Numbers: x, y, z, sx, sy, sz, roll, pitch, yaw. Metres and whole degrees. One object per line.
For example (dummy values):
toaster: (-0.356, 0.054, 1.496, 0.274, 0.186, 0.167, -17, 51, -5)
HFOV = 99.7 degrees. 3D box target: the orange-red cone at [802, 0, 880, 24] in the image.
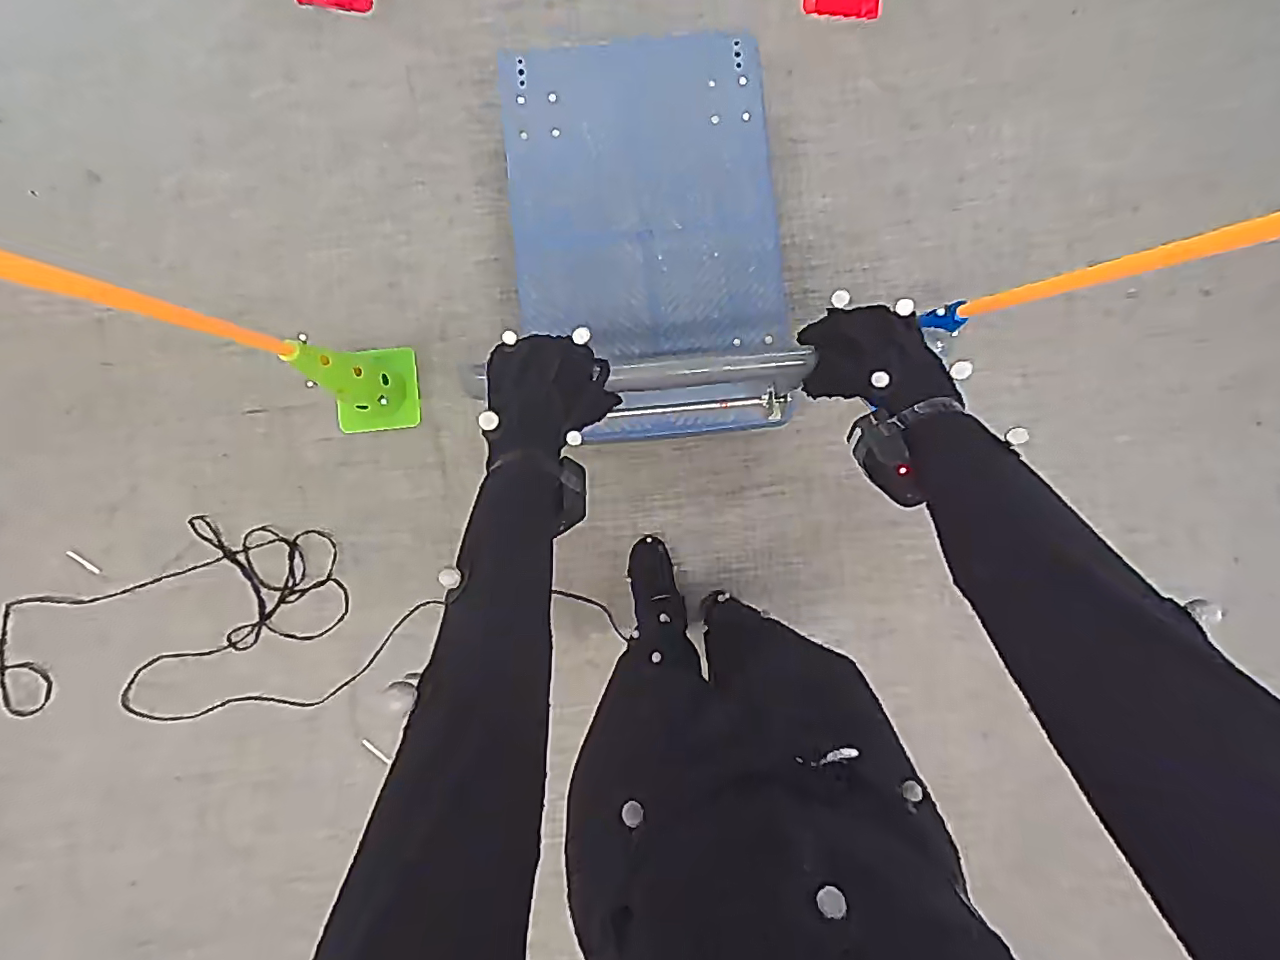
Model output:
orange-red cone: (0.522, -1.282, 1.222, 0.198, 0.360, 0.199, 6, 88, 1)
